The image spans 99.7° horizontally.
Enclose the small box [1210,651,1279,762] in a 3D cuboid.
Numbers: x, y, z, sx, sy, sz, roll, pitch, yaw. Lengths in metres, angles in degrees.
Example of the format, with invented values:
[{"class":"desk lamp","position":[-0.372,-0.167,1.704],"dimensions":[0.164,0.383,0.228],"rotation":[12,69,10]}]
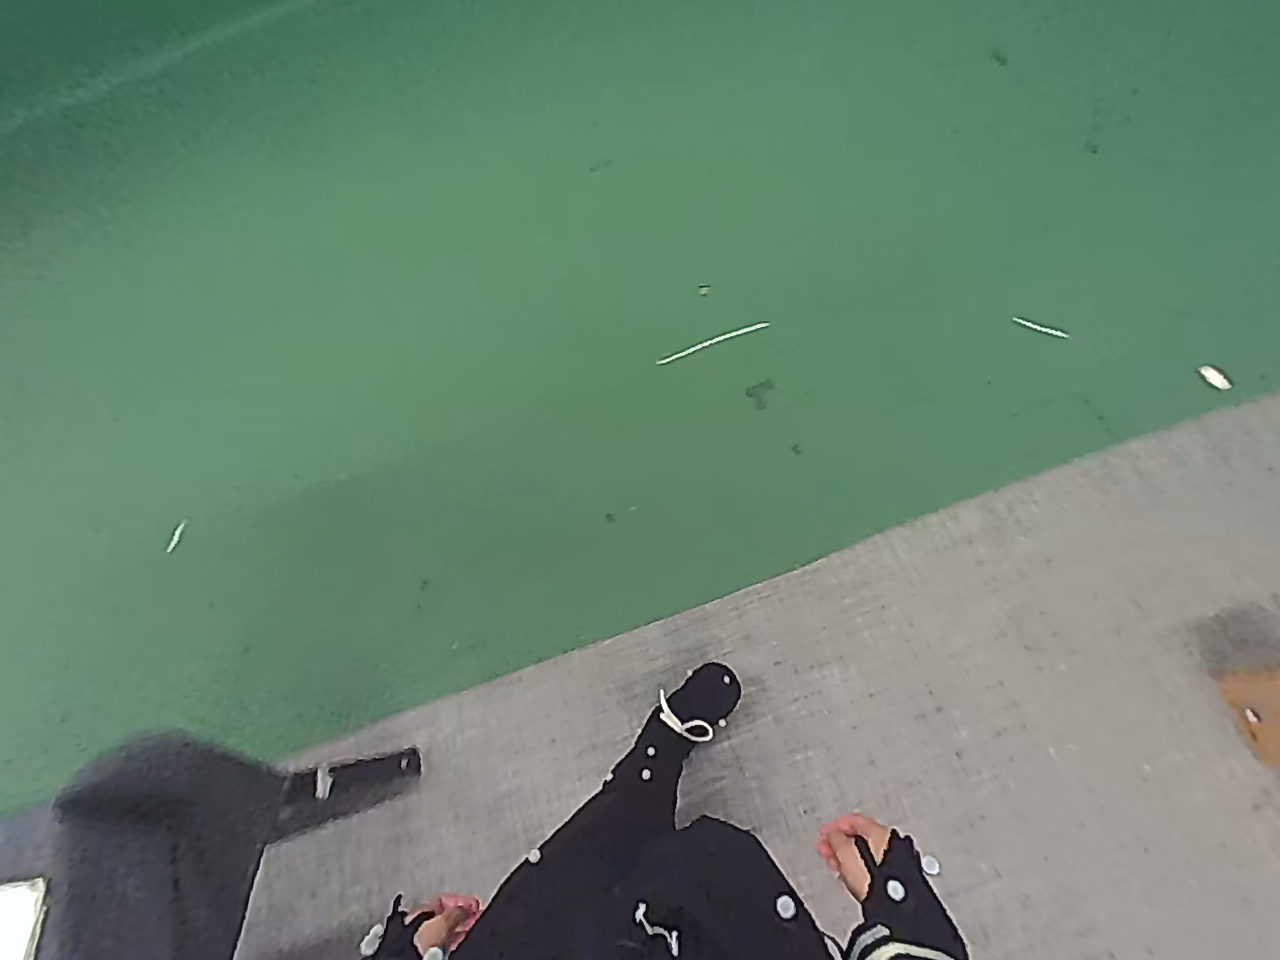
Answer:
[{"class":"small box","position":[1.199,0.393,0.951],"dimensions":[0.179,0.176,0.168],"rotation":[-18,67,3]}]
